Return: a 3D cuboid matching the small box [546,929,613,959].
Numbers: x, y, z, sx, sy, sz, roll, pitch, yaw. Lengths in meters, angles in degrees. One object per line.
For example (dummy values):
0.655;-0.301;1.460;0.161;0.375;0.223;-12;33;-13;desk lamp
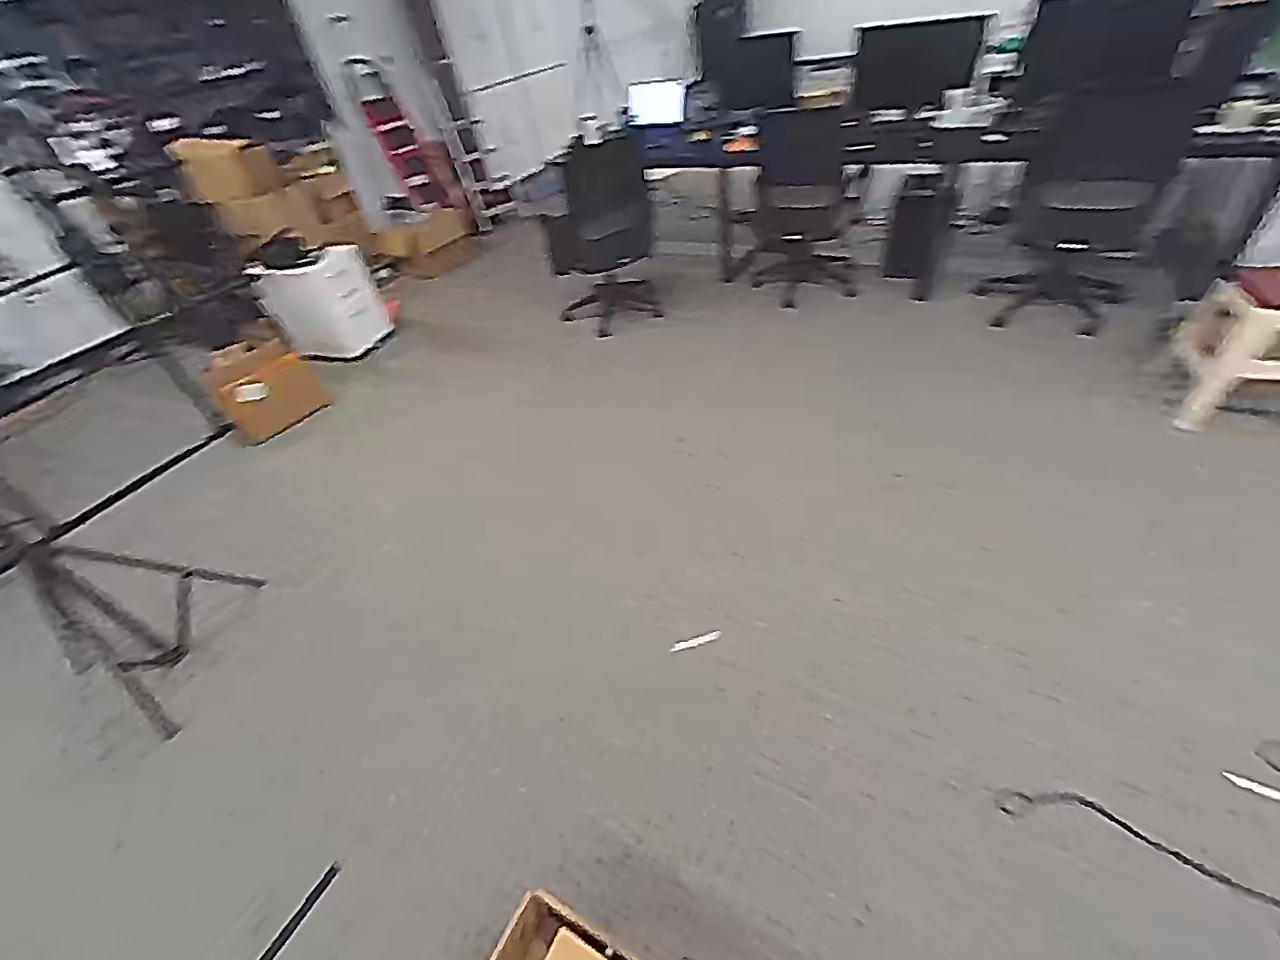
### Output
-0.100;0.990;1.007;0.179;0.176;0.168;15;50;25;small box
